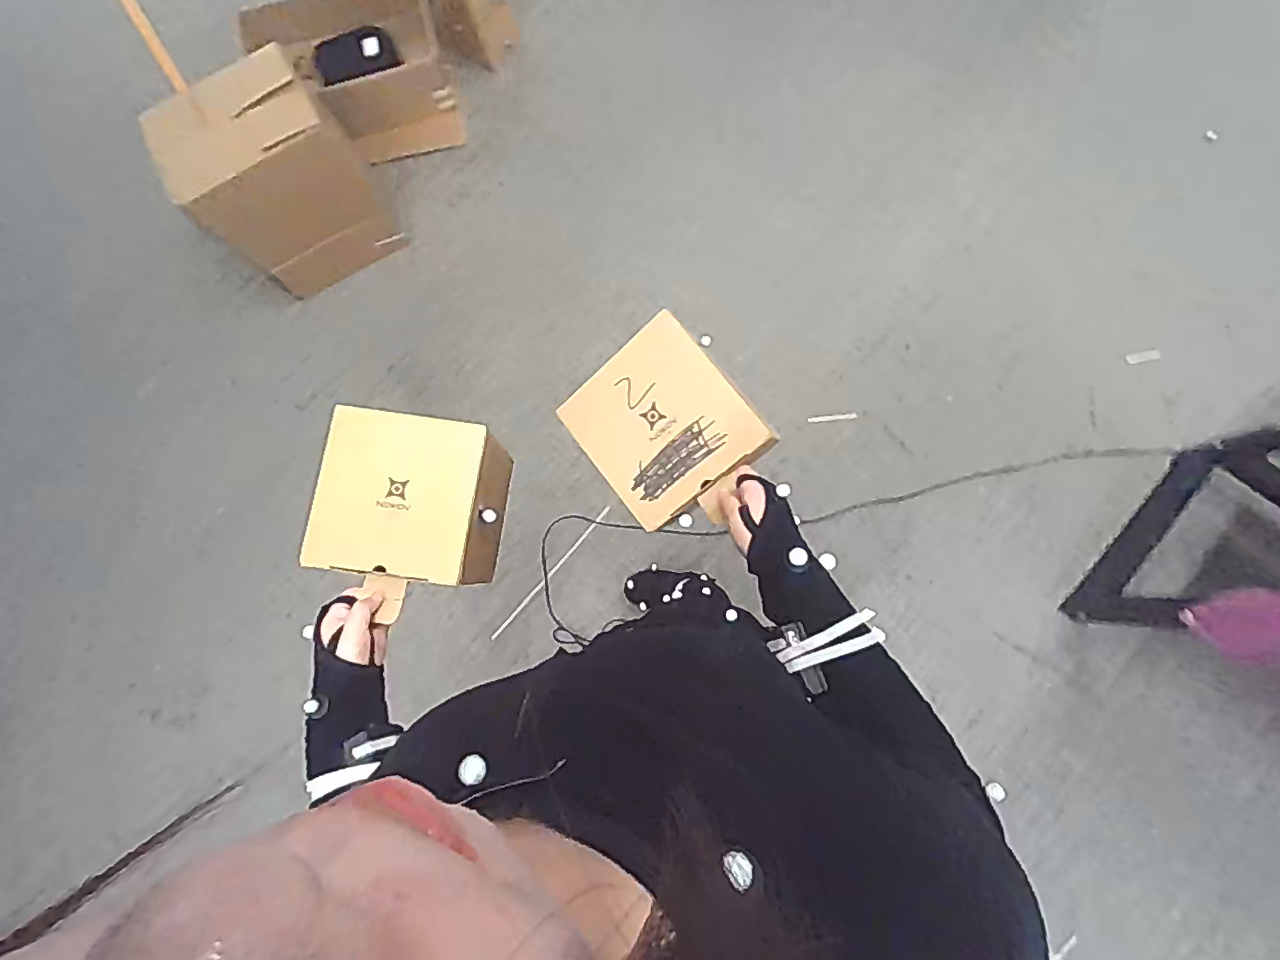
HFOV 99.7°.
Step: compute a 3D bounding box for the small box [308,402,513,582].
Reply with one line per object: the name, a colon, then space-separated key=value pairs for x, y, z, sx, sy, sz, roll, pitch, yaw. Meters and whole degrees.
small box: x=-0.260 y=0.022 z=0.661 sx=0.168 sy=0.176 sz=0.179 roll=9 pitch=82 yaw=-2
